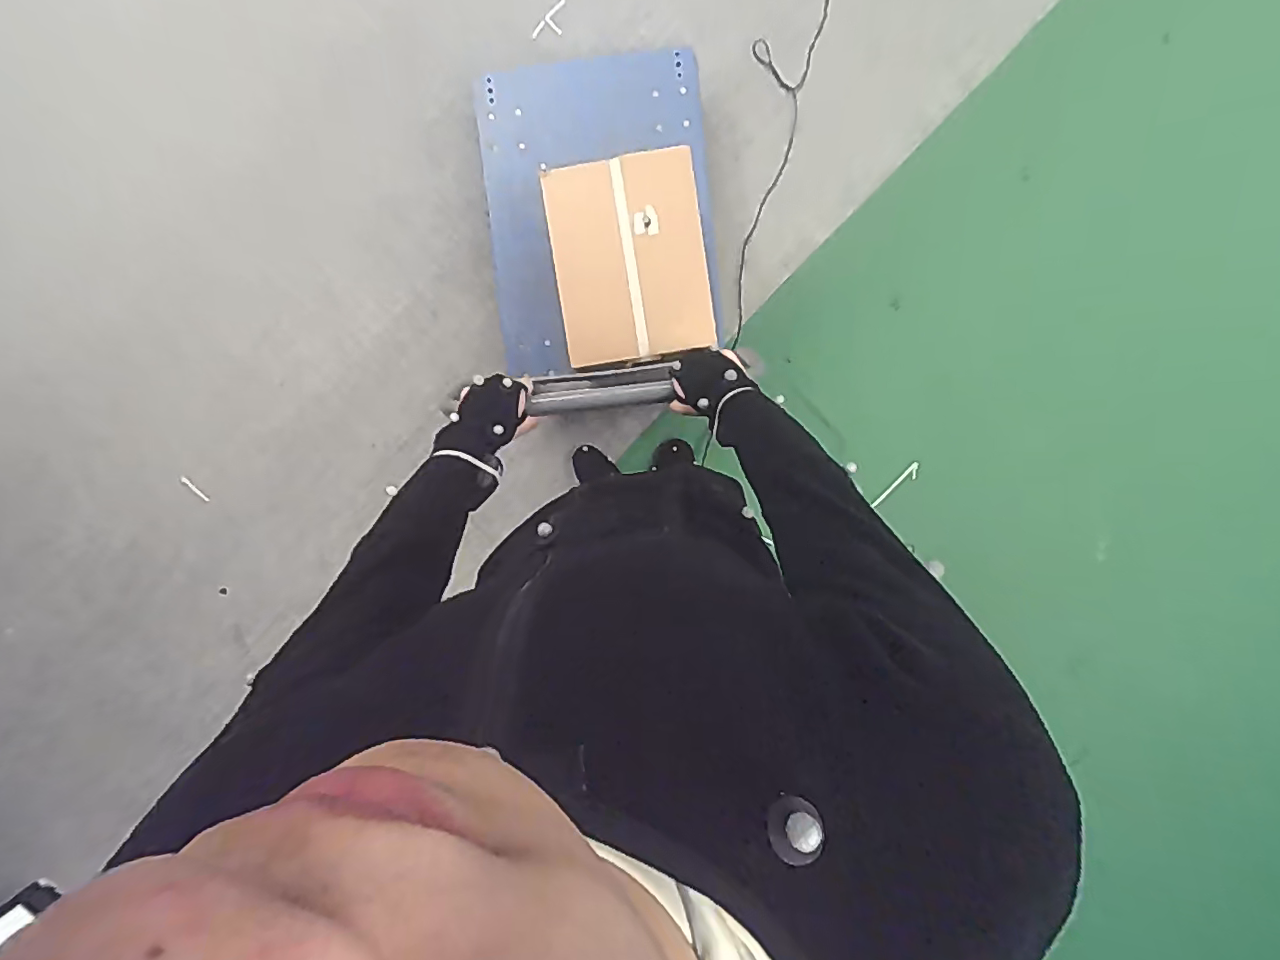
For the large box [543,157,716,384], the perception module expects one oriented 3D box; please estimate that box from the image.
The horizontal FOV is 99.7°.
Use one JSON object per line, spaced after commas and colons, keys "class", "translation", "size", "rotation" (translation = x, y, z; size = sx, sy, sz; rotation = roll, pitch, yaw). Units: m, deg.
{"class": "large box", "translation": [-0.016, -0.464, 1.288], "size": [0.320, 0.320, 0.408], "rotation": [-9, 95, 2]}
